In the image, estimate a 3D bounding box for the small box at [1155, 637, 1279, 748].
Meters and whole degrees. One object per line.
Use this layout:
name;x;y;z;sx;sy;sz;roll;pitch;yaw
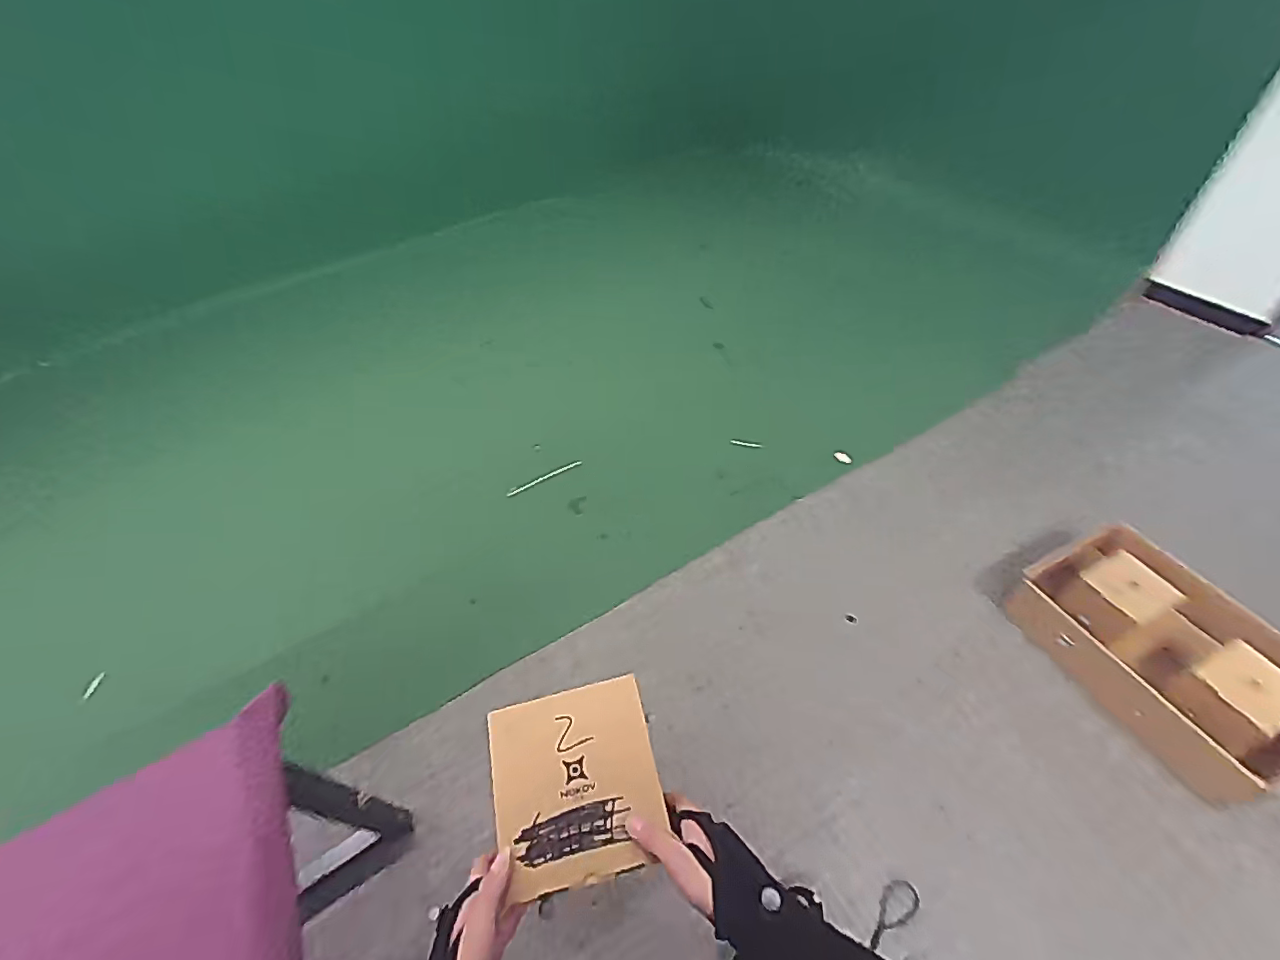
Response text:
small box;1.425;0.516;1.309;0.179;0.176;0.168;-23;50;-12

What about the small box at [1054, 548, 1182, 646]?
small box;1.301;0.323;1.489;0.179;0.176;0.168;-23;51;-13
